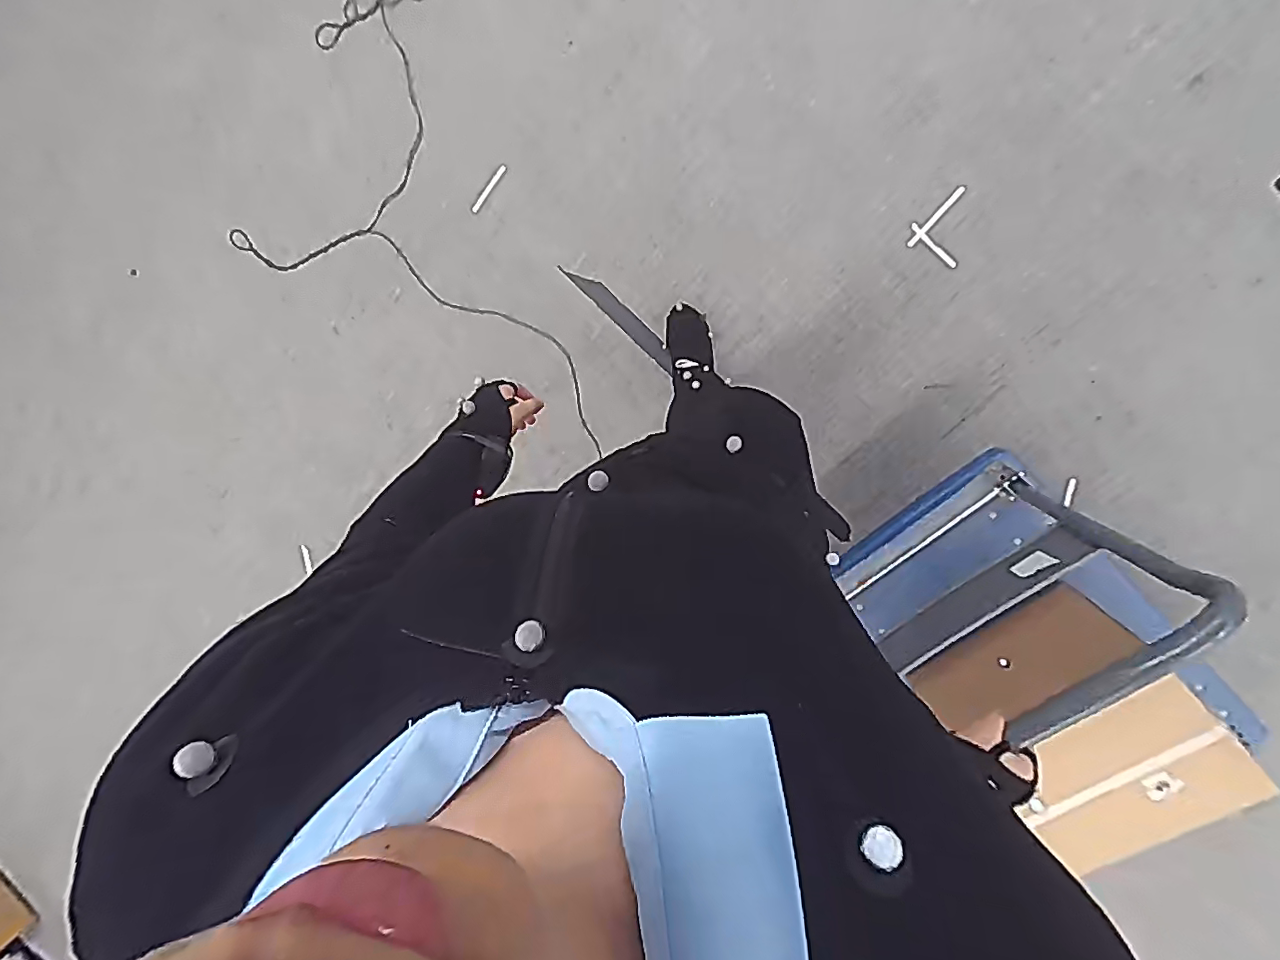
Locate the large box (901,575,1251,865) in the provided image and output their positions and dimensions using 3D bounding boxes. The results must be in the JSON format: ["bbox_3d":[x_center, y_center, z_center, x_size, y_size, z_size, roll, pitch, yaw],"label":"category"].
[{"bbox_3d":[0.845,0.476,1.128,0.408,0.320,0.320,-42,93,17],"label":"large box"}]
